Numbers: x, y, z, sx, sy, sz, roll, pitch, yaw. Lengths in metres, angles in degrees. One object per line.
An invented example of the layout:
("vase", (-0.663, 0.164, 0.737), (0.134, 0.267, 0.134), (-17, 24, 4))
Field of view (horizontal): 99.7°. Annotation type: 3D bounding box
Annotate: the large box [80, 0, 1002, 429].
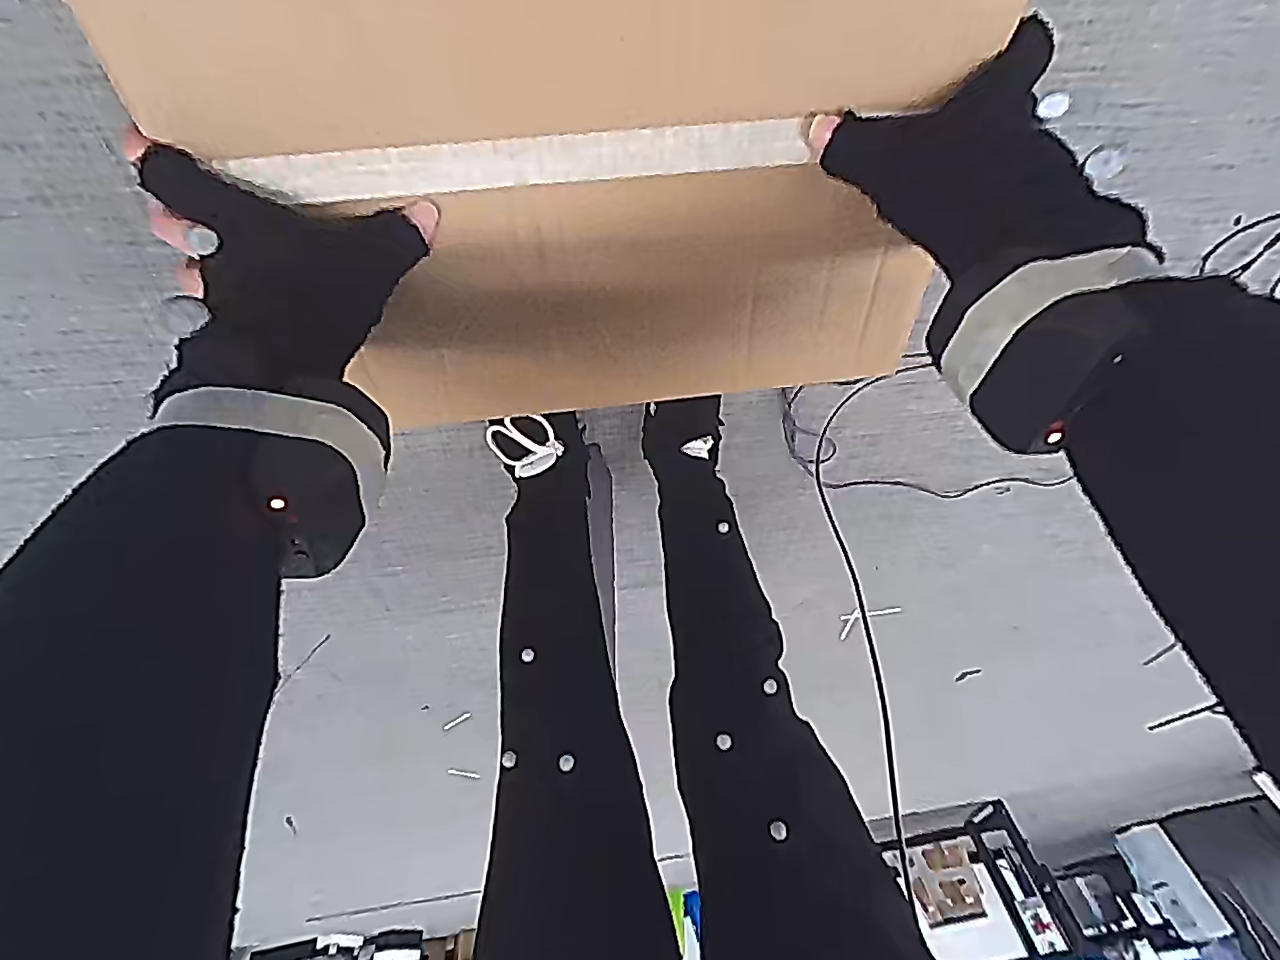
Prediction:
("large box", (-0.044, -0.272, 0.382), (0.408, 0.320, 0.320), (-7, 135, -5))
